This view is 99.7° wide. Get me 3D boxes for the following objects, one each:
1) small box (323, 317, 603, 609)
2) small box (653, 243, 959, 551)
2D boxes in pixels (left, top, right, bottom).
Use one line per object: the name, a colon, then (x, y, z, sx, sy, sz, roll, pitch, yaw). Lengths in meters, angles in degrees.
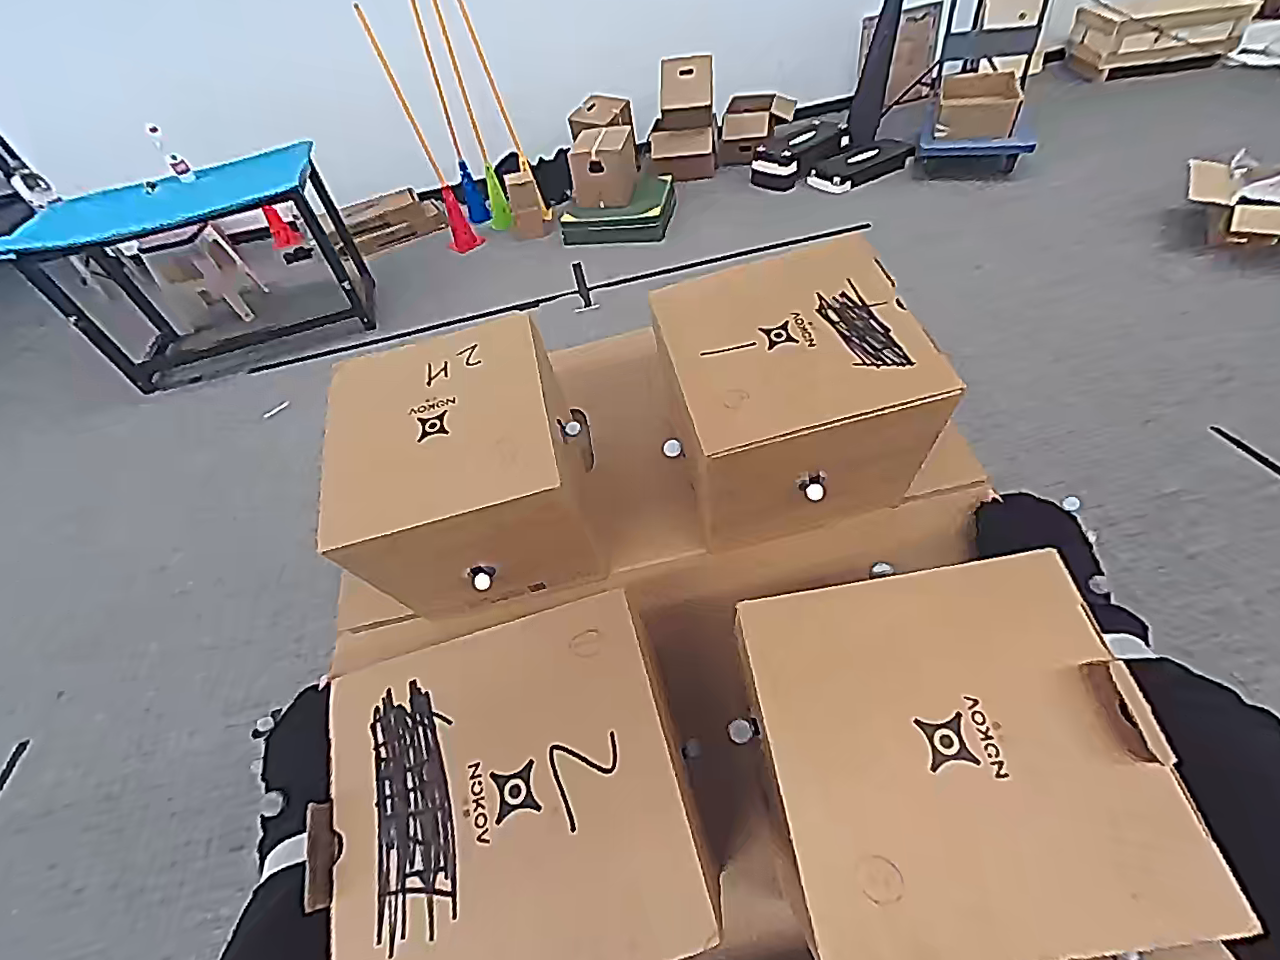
small box: (-0.136, -0.002, 0.466, 0.168, 0.176, 0.179, -14, 58, 0)
small box: (0.119, -0.059, 0.456, 0.179, 0.176, 0.168, -14, 59, 2)
